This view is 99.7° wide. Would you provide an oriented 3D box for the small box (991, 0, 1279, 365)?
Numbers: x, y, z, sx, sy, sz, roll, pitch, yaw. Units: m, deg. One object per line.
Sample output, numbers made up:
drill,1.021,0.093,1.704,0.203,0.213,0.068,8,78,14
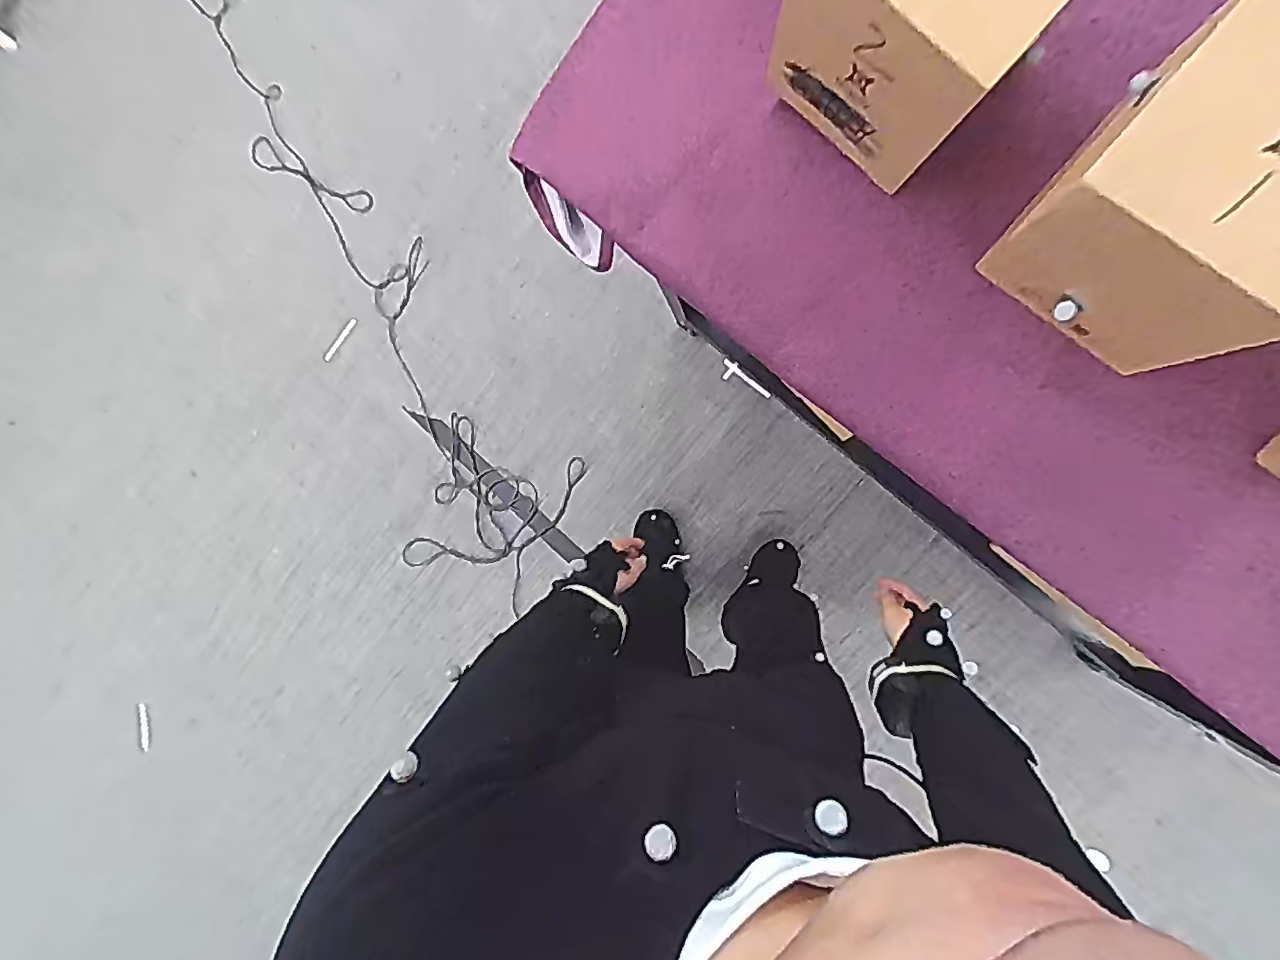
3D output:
small box,0.419,-0.214,0.411,0.168,0.176,0.179,41,98,8
